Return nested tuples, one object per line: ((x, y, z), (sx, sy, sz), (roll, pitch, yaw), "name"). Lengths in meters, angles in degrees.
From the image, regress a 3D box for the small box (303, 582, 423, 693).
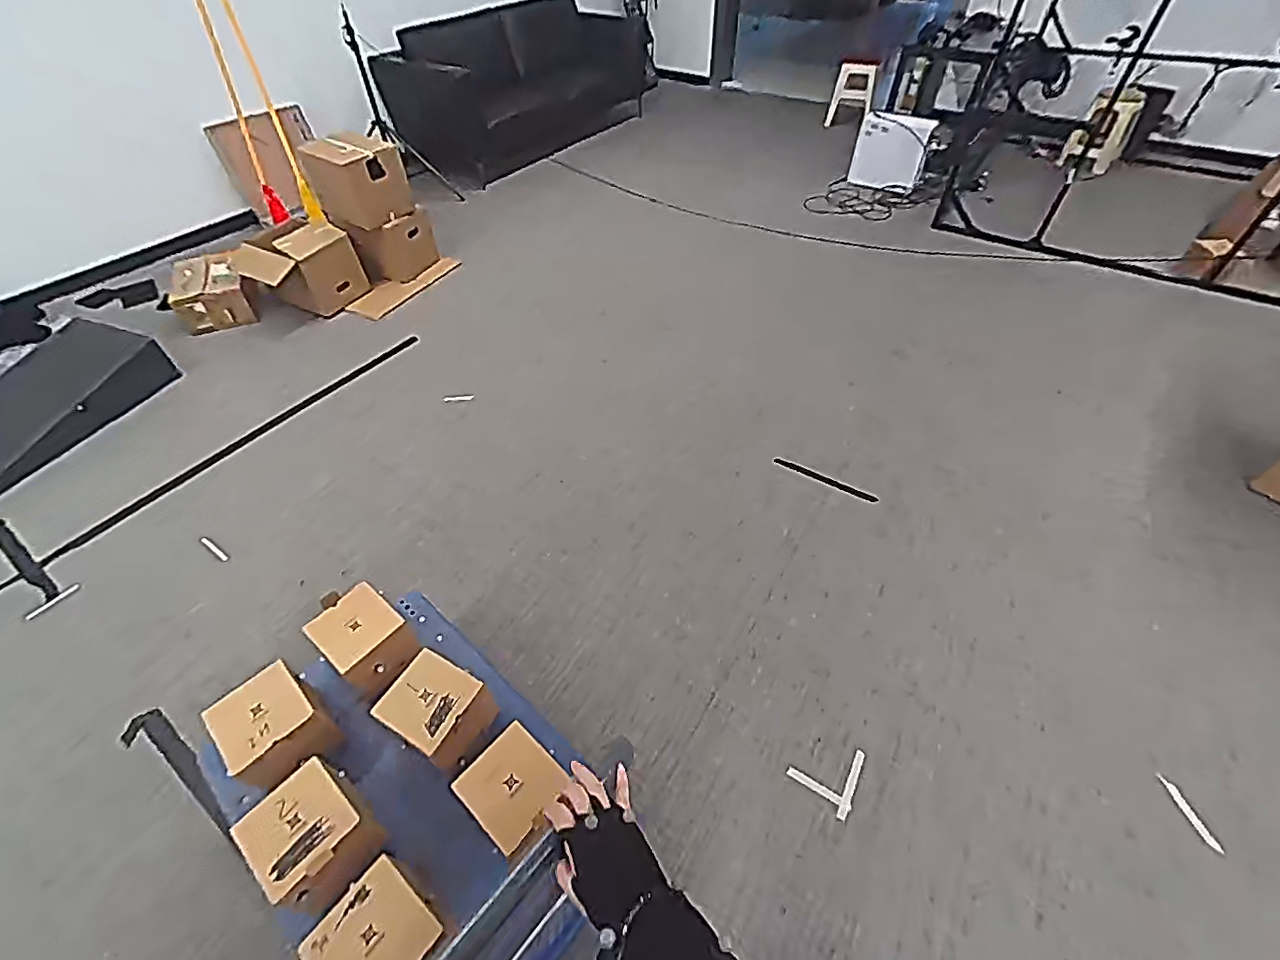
((-0.660, 0.387, 1.310), (0.179, 0.176, 0.168), (30, 55, 24), "small box")

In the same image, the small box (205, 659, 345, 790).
((-0.784, 0.535, 1.175), (0.179, 0.176, 0.168), (35, 57, 26), "small box")

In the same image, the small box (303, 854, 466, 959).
((-0.431, 0.800, 0.941), (0.179, 0.176, 0.168), (30, 53, 23), "small box")

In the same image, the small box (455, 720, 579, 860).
((-0.239, 0.632, 1.096), (0.179, 0.176, 0.168), (33, 55, 27), "small box")

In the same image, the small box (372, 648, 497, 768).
((-0.443, 0.512, 1.200), (0.179, 0.176, 0.168), (22, 52, 19), "small box")
